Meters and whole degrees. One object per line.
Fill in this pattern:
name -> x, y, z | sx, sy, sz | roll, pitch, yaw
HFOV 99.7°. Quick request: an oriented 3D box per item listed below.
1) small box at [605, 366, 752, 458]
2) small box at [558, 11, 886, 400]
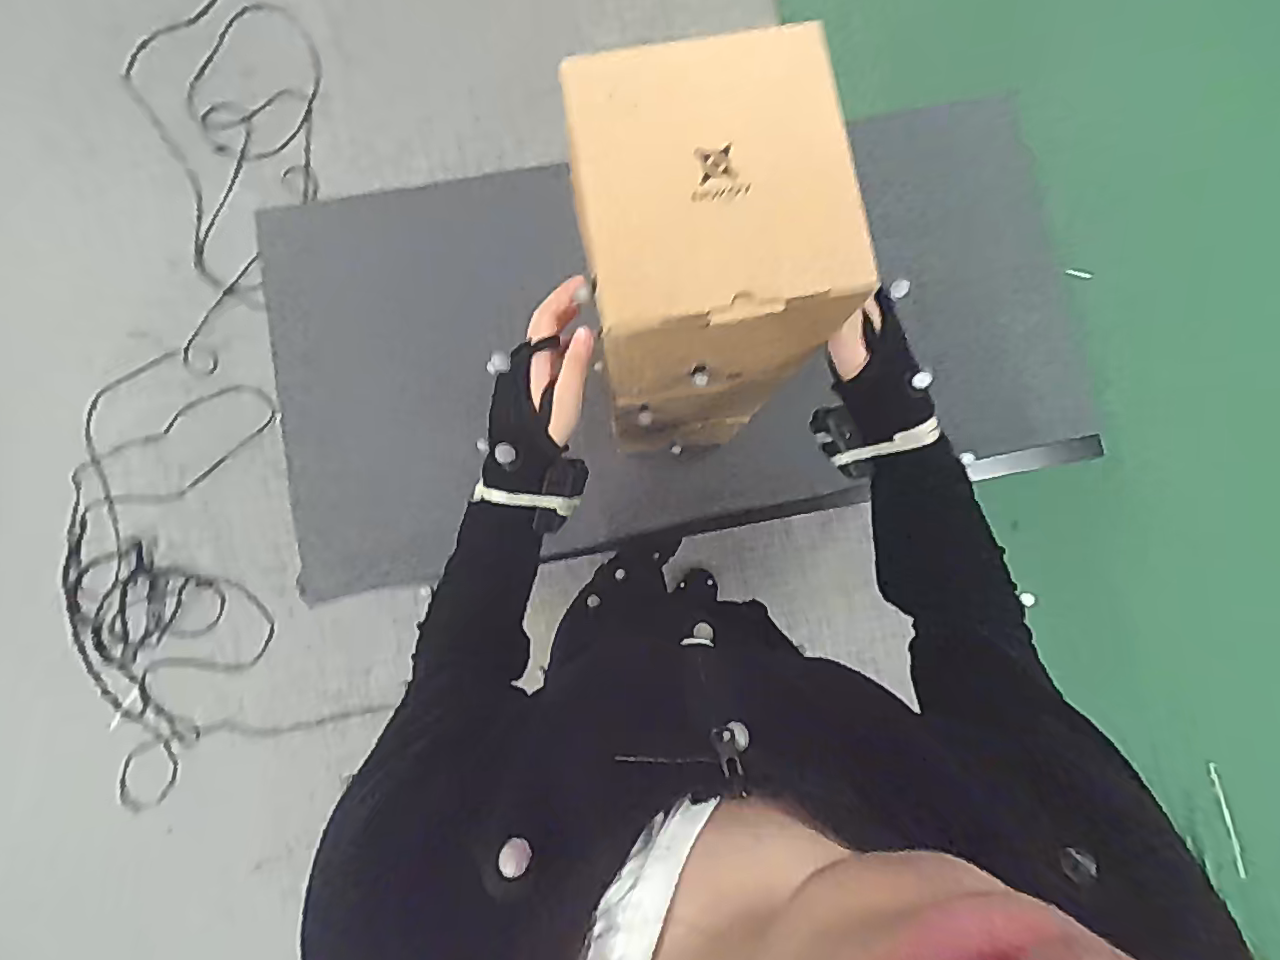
small box -> 0.039, -0.134, 0.715 | 0.168, 0.176, 0.179 | -7, 84, -2
small box -> 0.042, -0.175, 0.391 | 0.168, 0.176, 0.179 | -11, 83, -3
